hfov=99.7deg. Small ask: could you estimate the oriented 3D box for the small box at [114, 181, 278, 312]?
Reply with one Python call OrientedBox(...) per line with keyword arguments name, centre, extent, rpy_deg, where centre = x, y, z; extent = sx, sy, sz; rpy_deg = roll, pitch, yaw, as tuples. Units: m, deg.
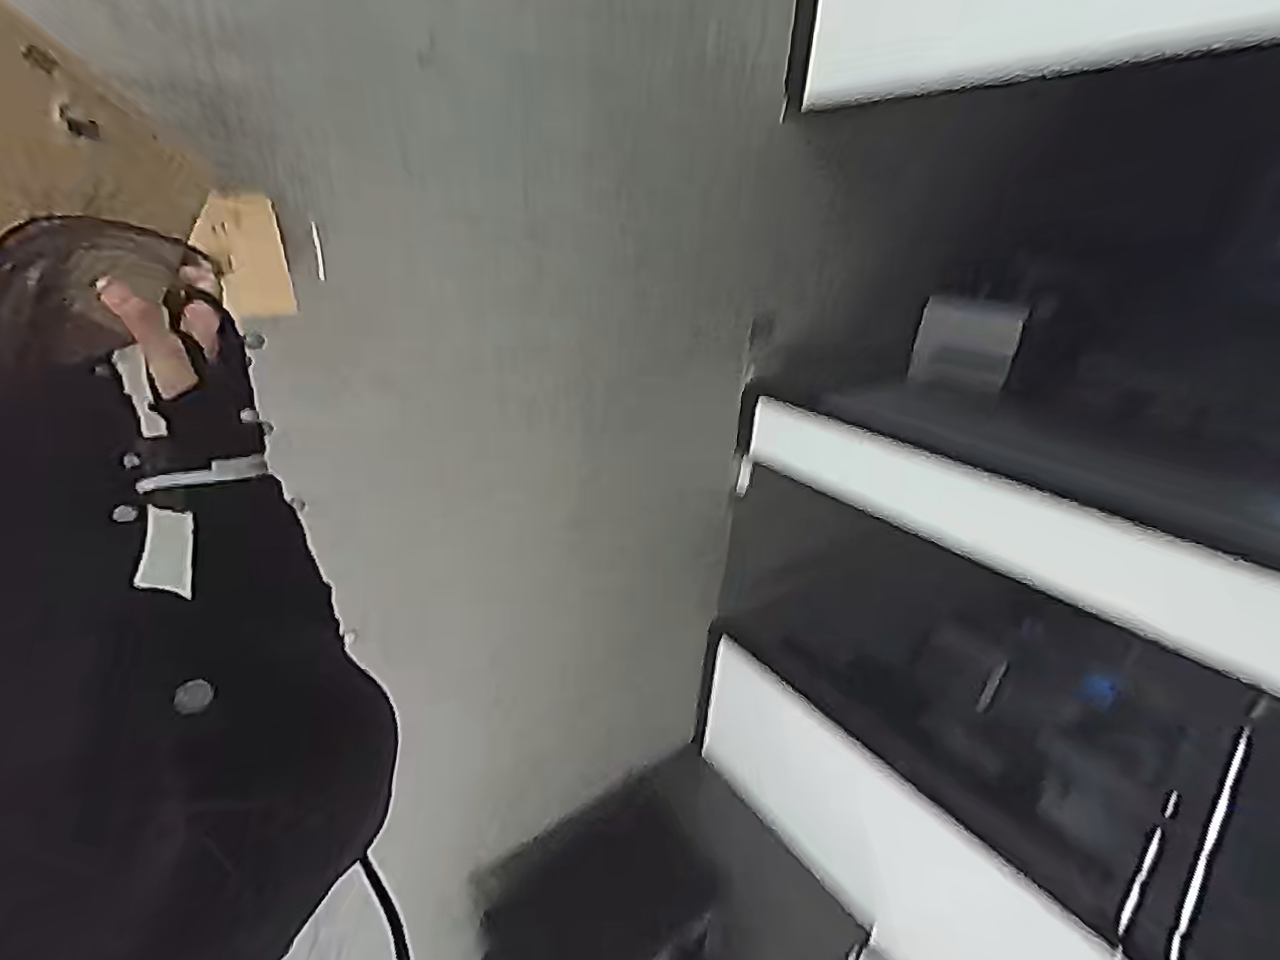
OrientedBox(name="small box", centre=(-0.713, -0.380, 0.880), extent=(0.168, 0.176, 0.179), rpy_deg=(-16, 122, -35))
